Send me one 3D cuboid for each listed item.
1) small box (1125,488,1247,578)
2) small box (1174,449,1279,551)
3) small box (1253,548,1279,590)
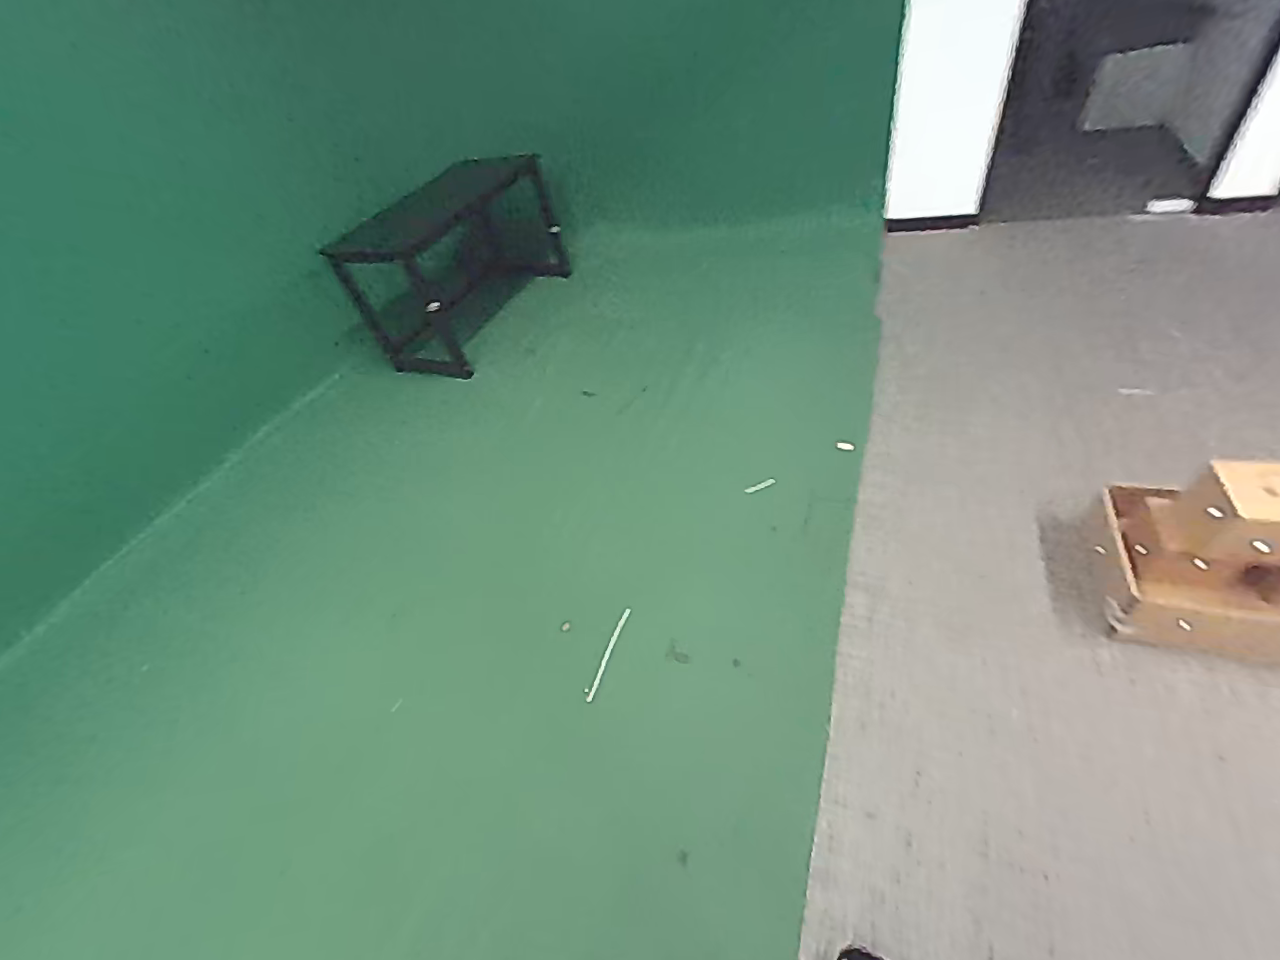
[{"bbox_3d":[1.416,0.139,1.411,0.179,0.176,0.168,4,50,18],"label":"small box"},{"bbox_3d":[1.422,0.048,1.267,0.168,0.176,0.179,2,50,16],"label":"small box"},{"bbox_3d":[1.658,0.167,1.310,0.179,0.176,0.168,-1,48,17],"label":"small box"}]
